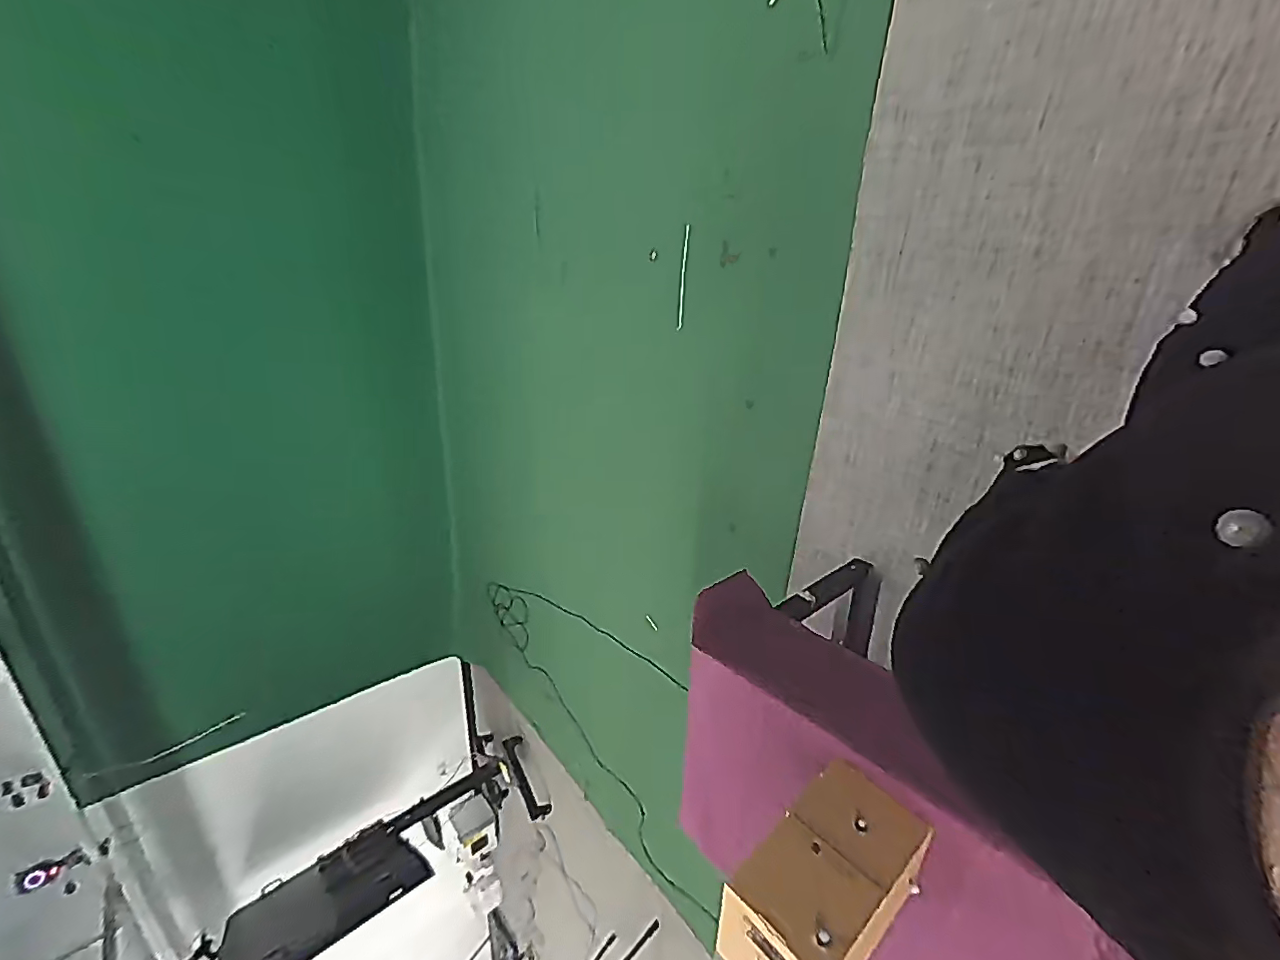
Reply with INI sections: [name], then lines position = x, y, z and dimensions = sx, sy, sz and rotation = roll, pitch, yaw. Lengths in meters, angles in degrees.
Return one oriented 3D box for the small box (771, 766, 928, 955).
[small box]
position = 0.355, 0.630, 0.926
dimensions = 0.179, 0.176, 0.168
rotation = 25, 121, 43
